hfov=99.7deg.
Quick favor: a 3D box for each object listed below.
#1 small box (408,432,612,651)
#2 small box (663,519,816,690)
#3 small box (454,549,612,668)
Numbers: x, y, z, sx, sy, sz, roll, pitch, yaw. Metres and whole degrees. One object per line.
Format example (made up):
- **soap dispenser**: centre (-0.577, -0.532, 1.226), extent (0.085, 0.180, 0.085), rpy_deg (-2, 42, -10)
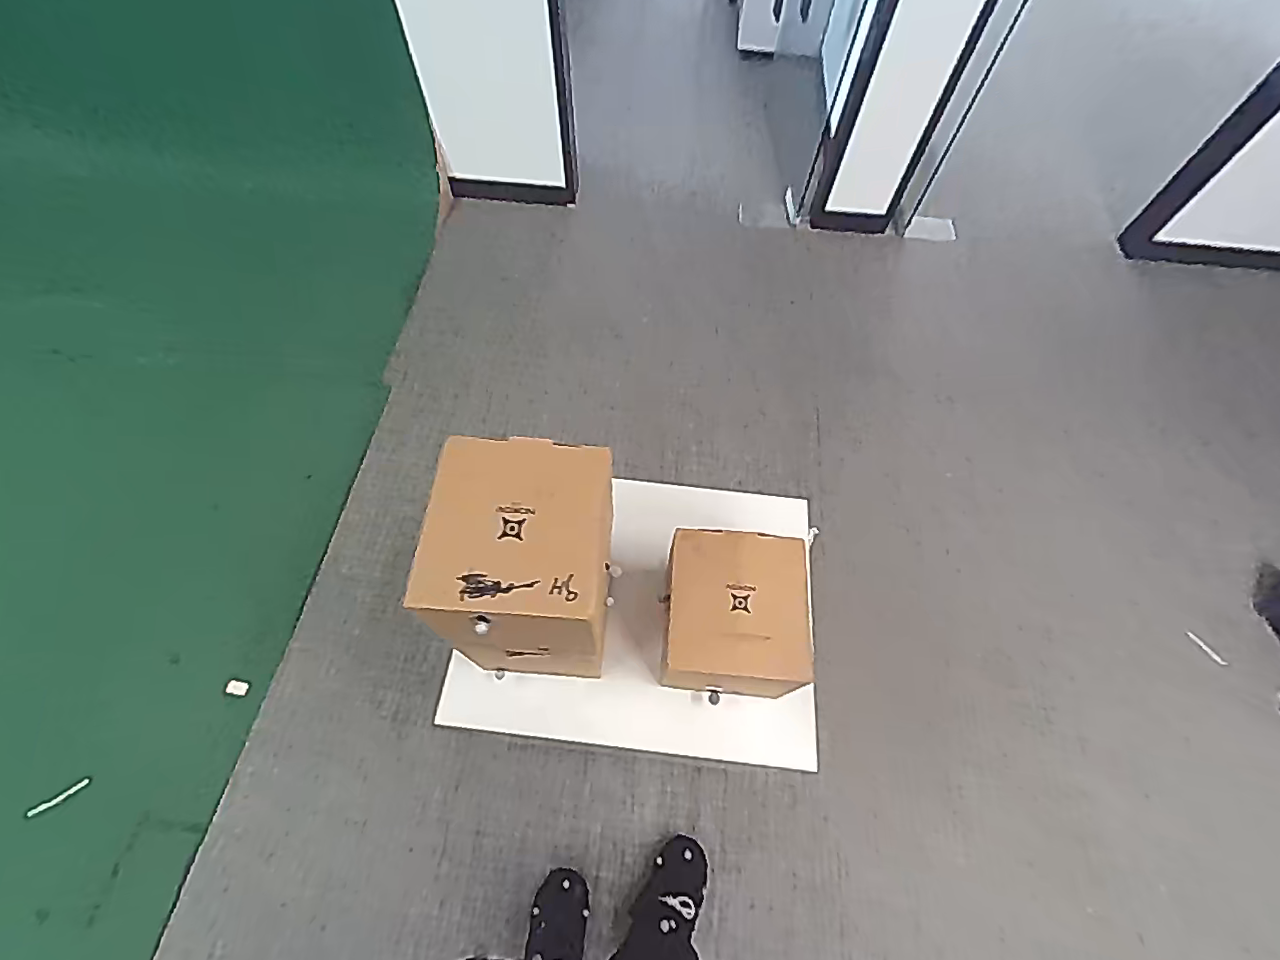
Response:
- **small box**: centre (-0.119, 0.071, 0.578), extent (0.168, 0.176, 0.179), rpy_deg (4, 61, 0)
- **small box**: centre (0.118, 0.167, 0.702), extent (0.168, 0.176, 0.179), rpy_deg (3, 64, 2)
- **small box**: centre (-0.127, 0.147, 0.721), extent (0.168, 0.176, 0.179), rpy_deg (4, 61, 0)
